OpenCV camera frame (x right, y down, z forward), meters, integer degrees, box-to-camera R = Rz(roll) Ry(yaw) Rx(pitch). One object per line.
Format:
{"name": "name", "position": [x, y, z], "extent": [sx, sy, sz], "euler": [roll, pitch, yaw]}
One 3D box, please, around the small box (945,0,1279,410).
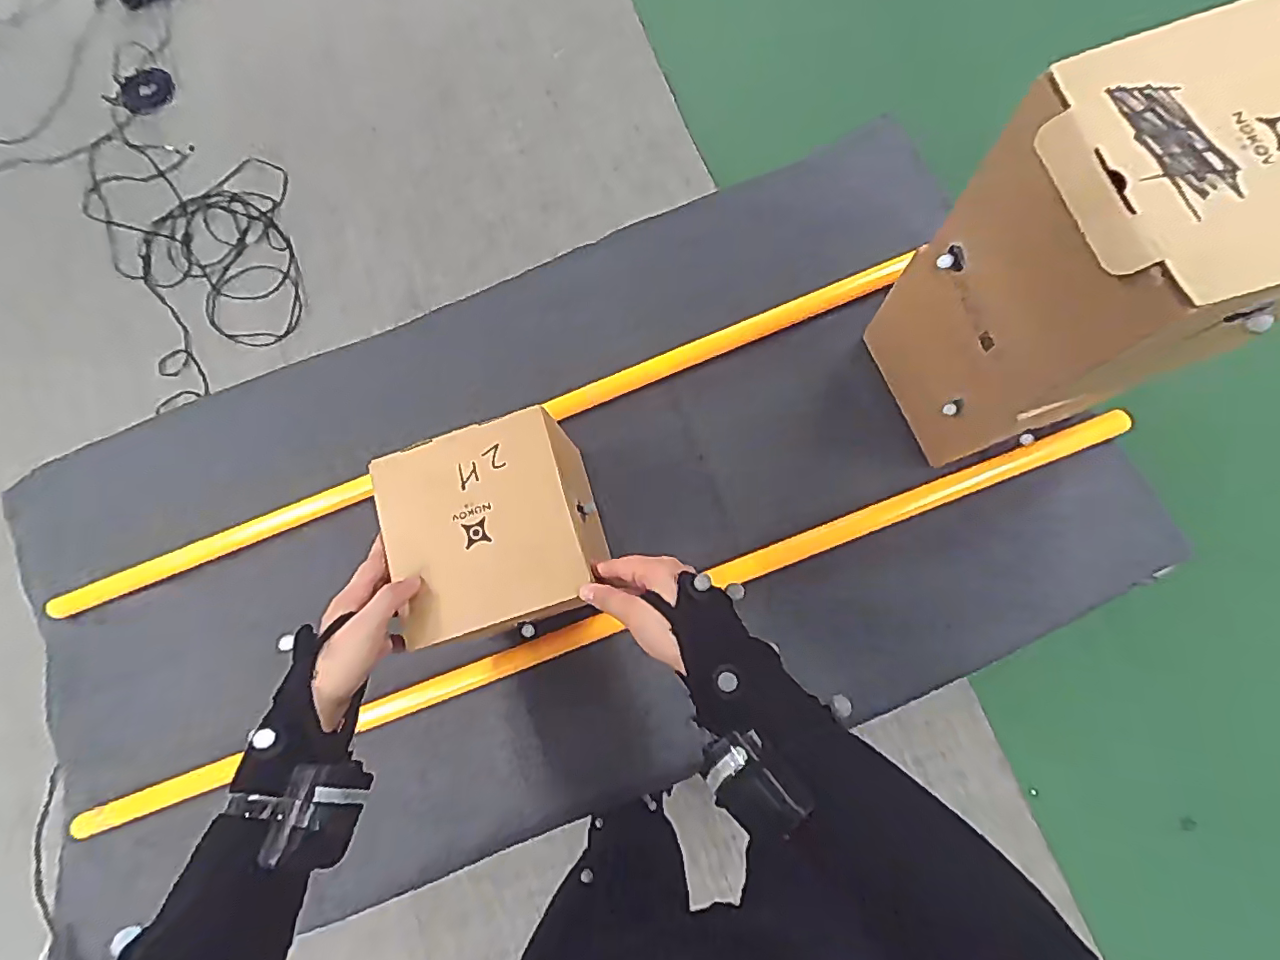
{"name": "small box", "position": [0.342, -0.165, 0.368], "extent": [0.179, 0.176, 0.168], "euler": [-17, 77, 2]}
